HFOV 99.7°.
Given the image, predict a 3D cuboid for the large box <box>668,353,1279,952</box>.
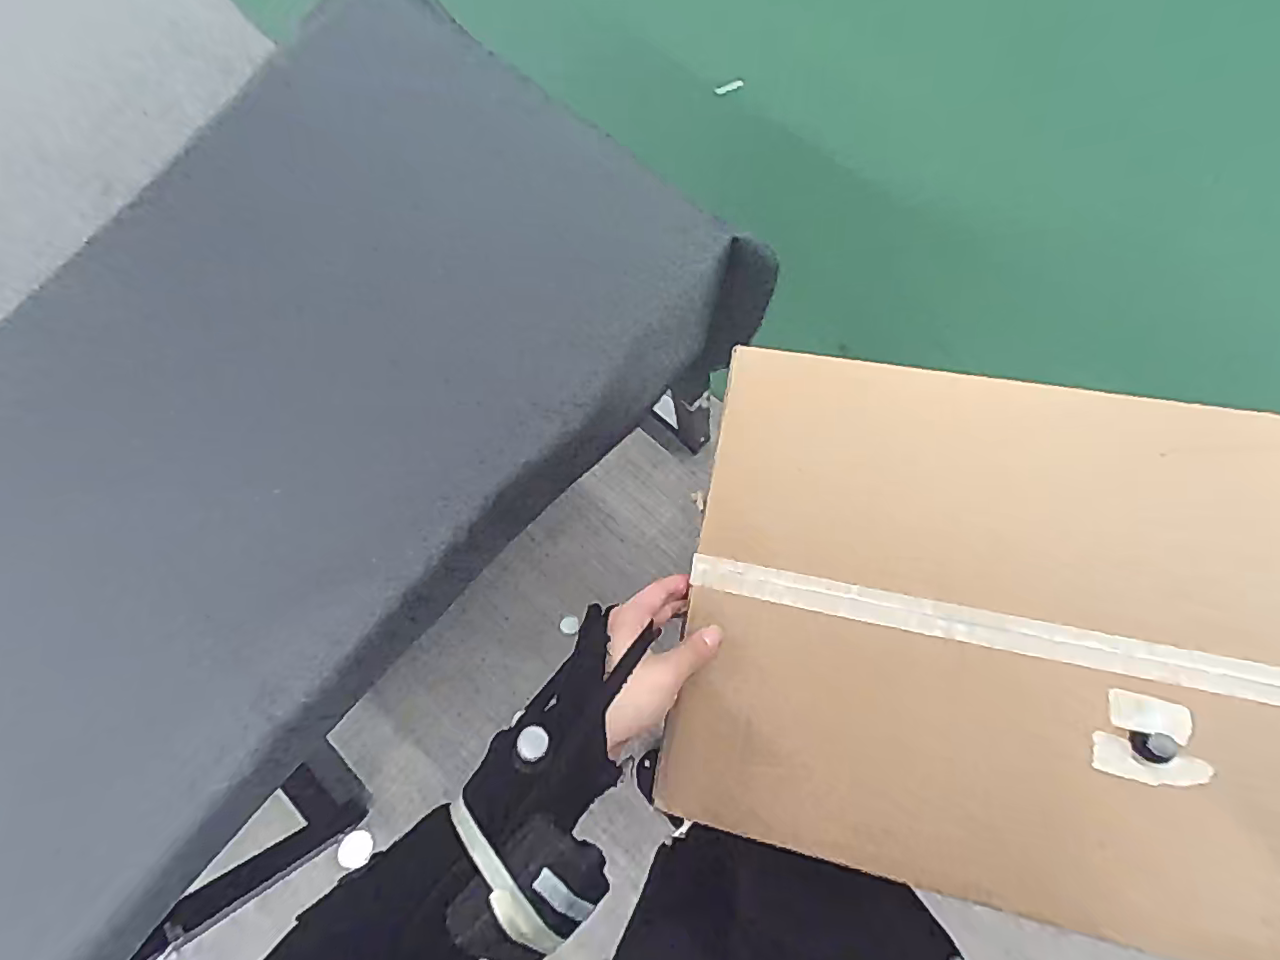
[{"bbox_3d":[0.253,0.109,0.477,0.408,0.320,0.320,9,83,10],"label":"large box"}]
